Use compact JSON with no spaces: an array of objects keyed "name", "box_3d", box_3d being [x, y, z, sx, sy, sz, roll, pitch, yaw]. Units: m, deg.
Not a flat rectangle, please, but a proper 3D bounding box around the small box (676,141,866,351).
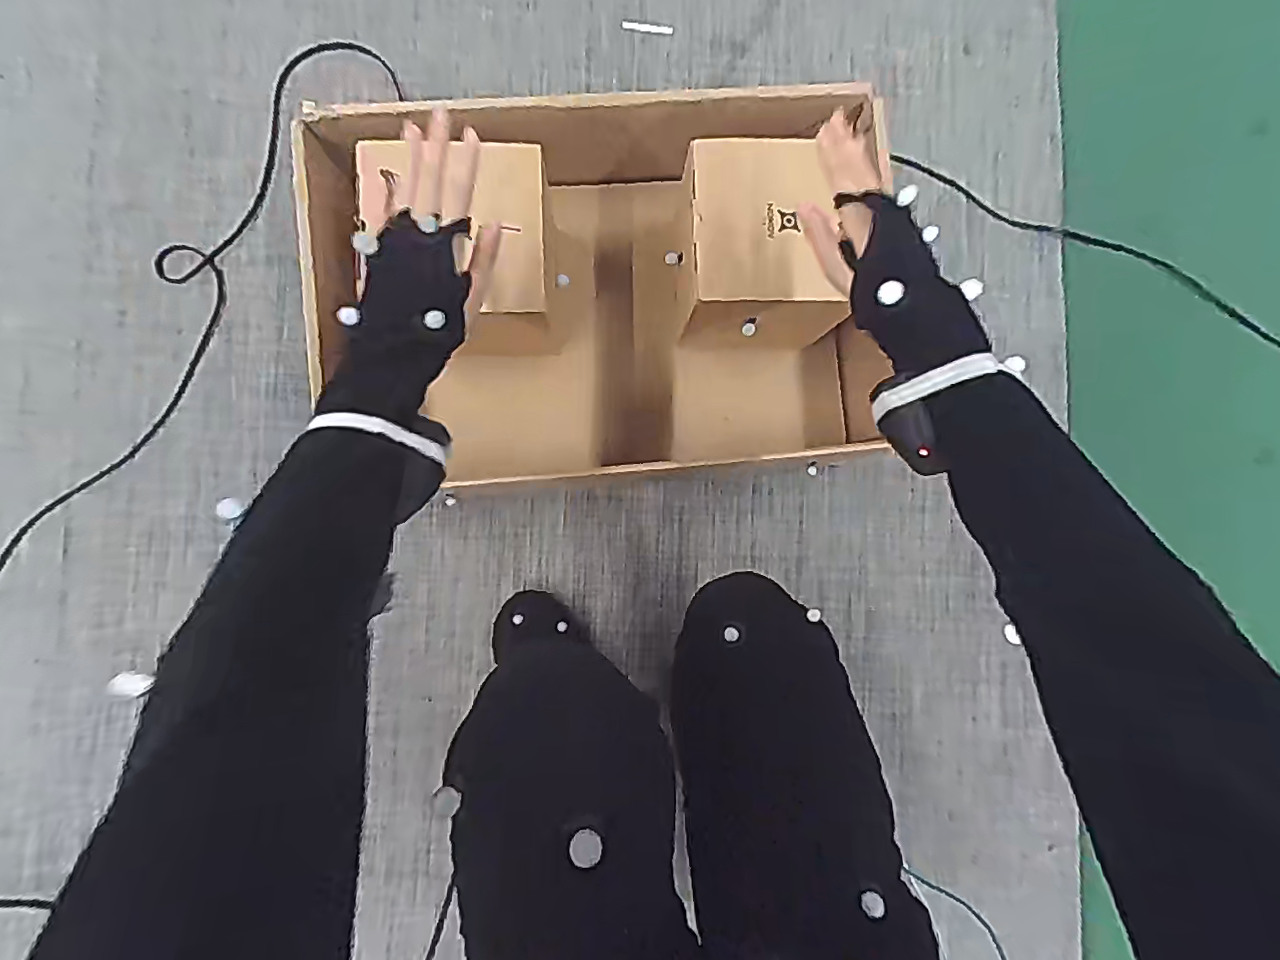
[{"name":"small box","box_3d":[0.134,-0.251,0.618,0.179,0.176,0.168,0,87,-4]}]
